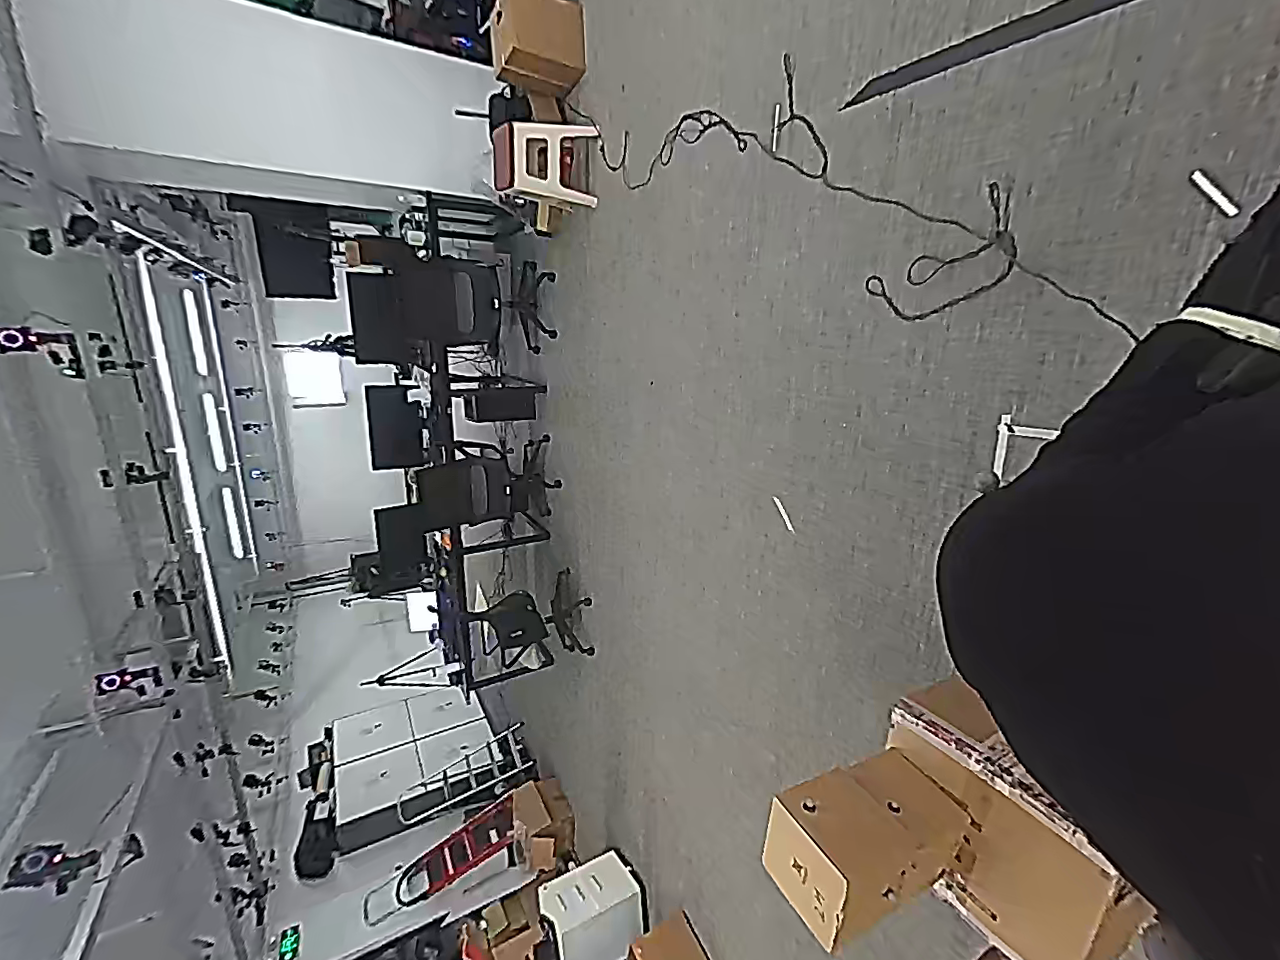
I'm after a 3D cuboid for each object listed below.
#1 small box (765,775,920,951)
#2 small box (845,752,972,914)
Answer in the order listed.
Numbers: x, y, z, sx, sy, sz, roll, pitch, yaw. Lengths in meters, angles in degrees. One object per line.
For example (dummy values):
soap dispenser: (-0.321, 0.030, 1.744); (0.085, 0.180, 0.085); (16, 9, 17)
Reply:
small box: (0.351, 0.656, 0.955); (0.179, 0.176, 0.168); (33, 124, 57)
small box: (0.494, 0.665, 1.042); (0.179, 0.176, 0.168); (38, 128, 55)
